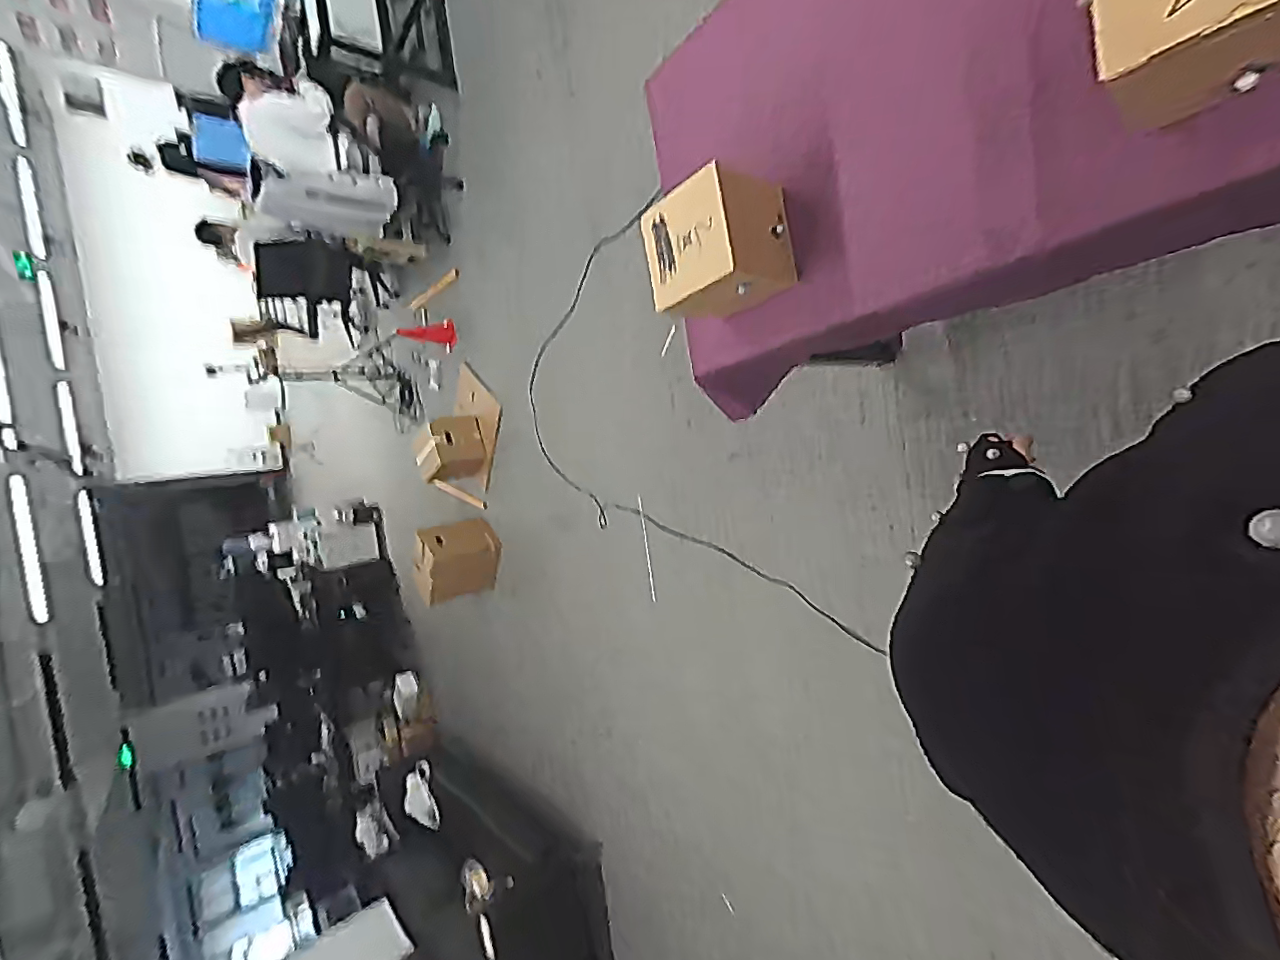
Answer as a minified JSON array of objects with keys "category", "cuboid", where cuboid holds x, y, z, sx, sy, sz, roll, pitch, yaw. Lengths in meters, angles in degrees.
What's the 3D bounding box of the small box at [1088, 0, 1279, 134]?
[{"category":"small box","cuboid":[0.499,-0.439,0.457,0.168,0.176,0.179,-5,94,51]}]
